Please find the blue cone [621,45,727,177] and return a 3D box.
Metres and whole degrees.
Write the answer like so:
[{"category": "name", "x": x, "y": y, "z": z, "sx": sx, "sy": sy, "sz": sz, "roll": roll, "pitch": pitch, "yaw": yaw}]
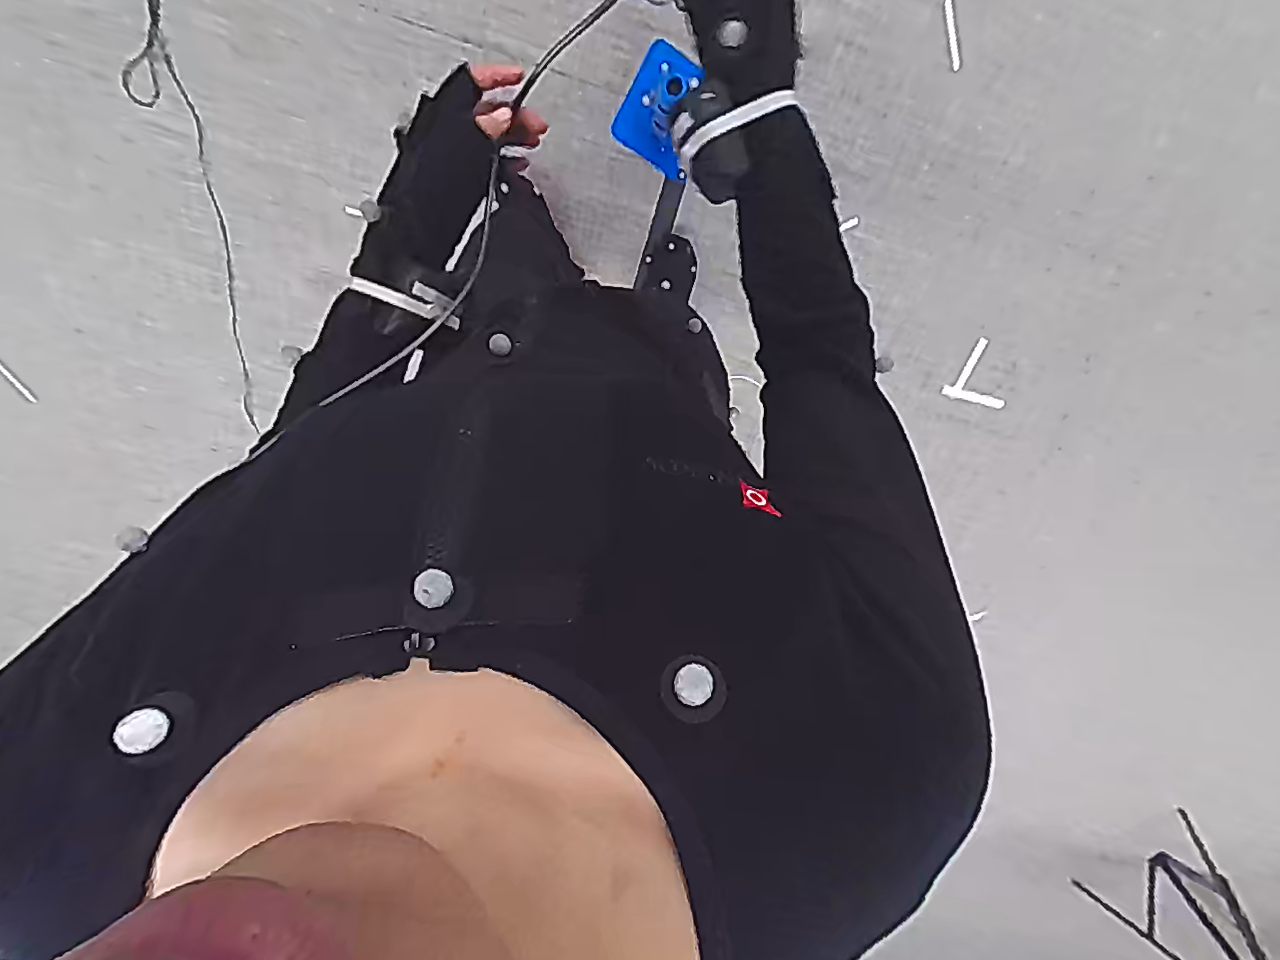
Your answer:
[{"category": "blue cone", "x": 0.067, "y": -0.708, "z": 1.012, "sx": 0.192, "sy": 0.380, "sz": 0.193, "roll": 30, "pitch": 115, "yaw": -14}]
